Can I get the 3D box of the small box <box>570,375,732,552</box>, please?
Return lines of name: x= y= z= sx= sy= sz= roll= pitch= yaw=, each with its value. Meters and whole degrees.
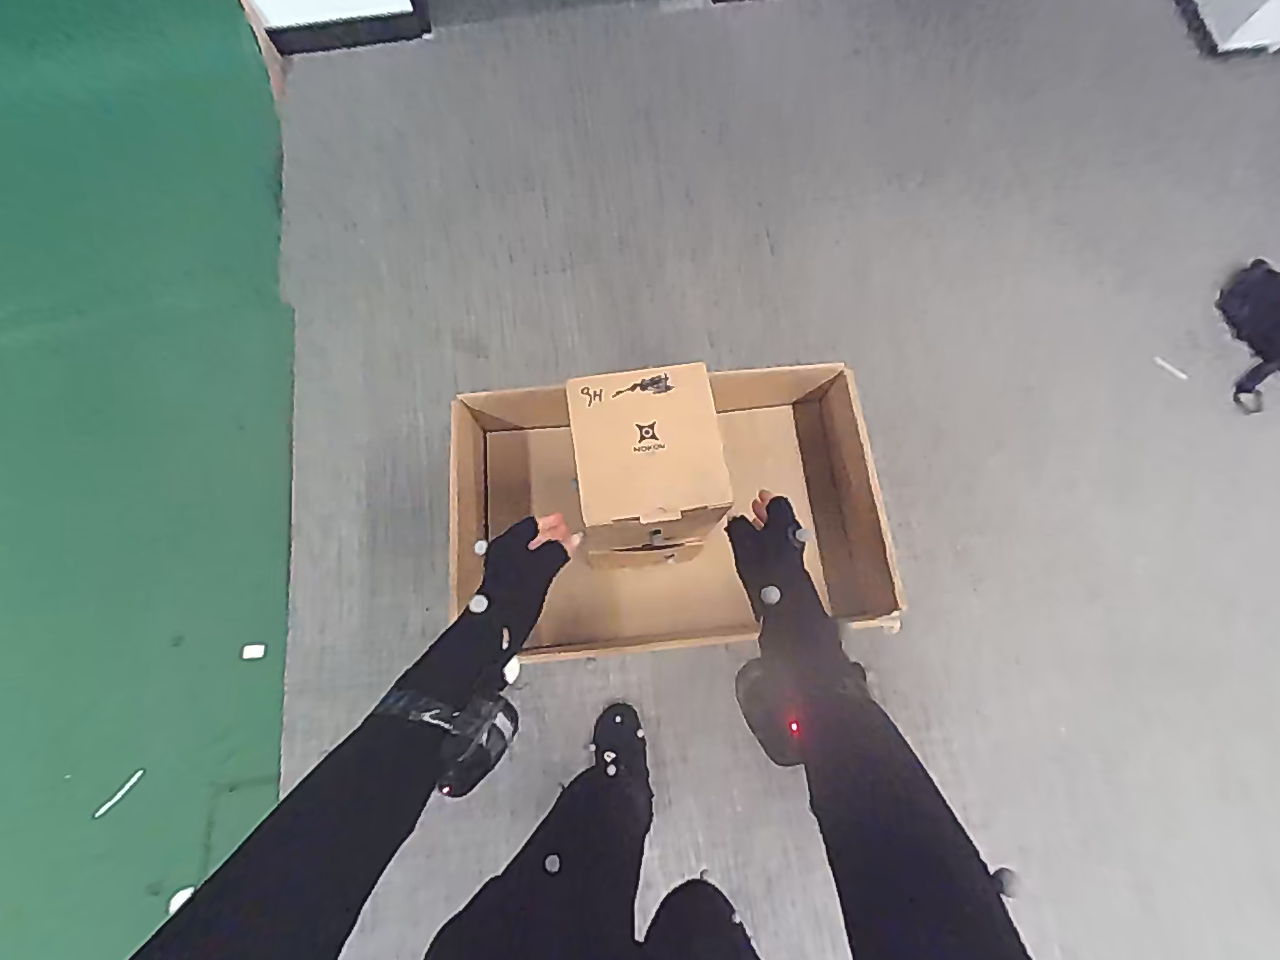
small box: x=0.009 y=-0.010 z=0.681 sx=0.168 sy=0.176 sz=0.179 roll=-7 pitch=74 yaw=-4

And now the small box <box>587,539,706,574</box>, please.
small box: x=0.002 y=0.046 z=0.835 sx=0.168 sy=0.176 sz=0.179 roll=-5 pitch=71 yaw=-4
